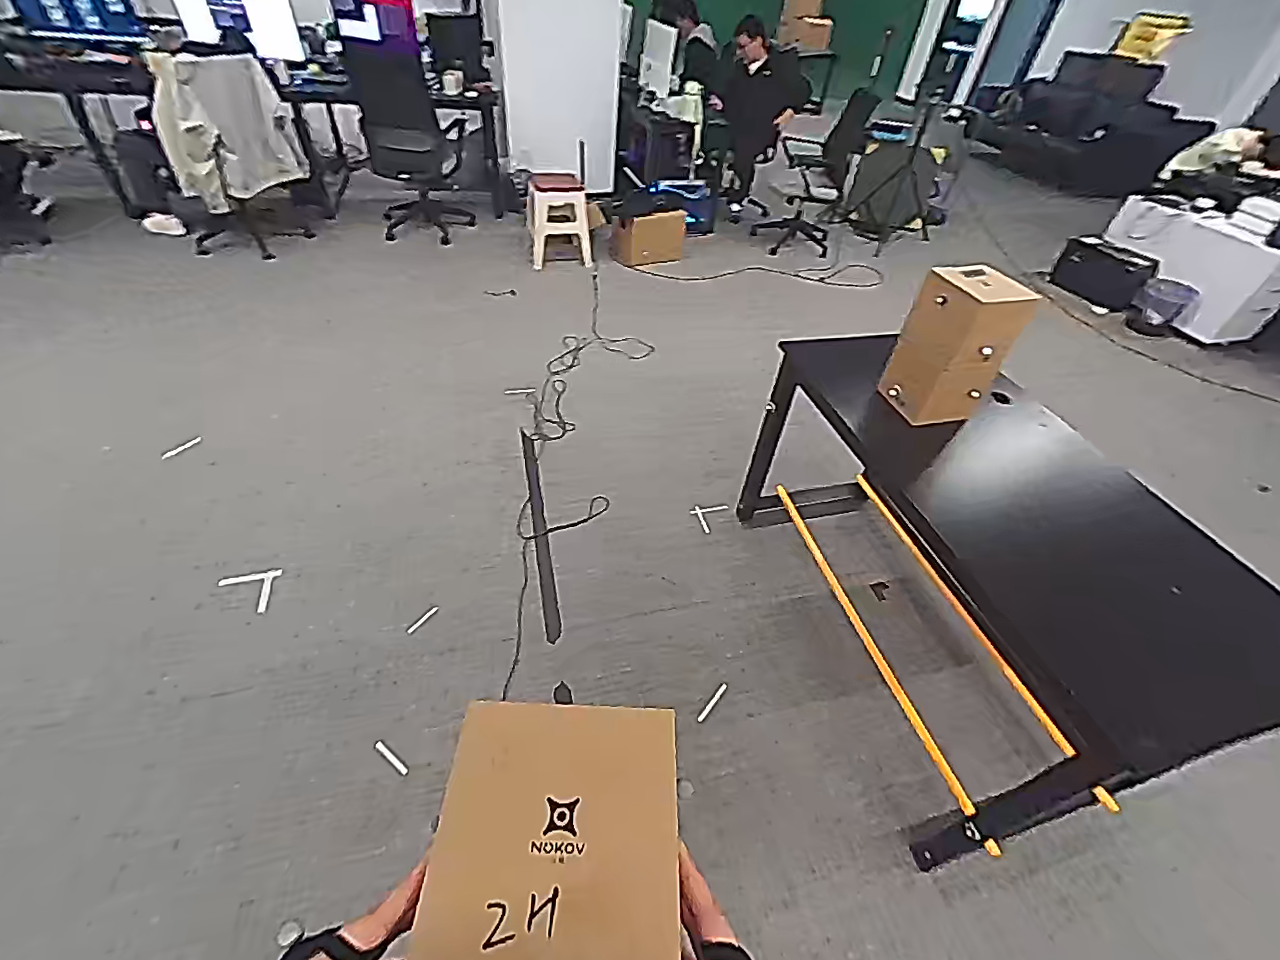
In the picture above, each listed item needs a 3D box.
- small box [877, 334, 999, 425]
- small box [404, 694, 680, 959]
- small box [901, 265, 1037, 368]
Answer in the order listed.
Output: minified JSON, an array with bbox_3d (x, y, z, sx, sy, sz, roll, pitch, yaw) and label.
[{"bbox_3d":[0.740,-0.259,1.364,0.179,0.176,0.168,-9,45,-14],"label":"small box"},{"bbox_3d":[-0.061,0.294,0.429,0.168,0.176,0.179,3,44,-2],"label":"small box"},{"bbox_3d":[0.746,-0.378,1.250,0.168,0.176,0.179,-10,46,-16],"label":"small box"}]
